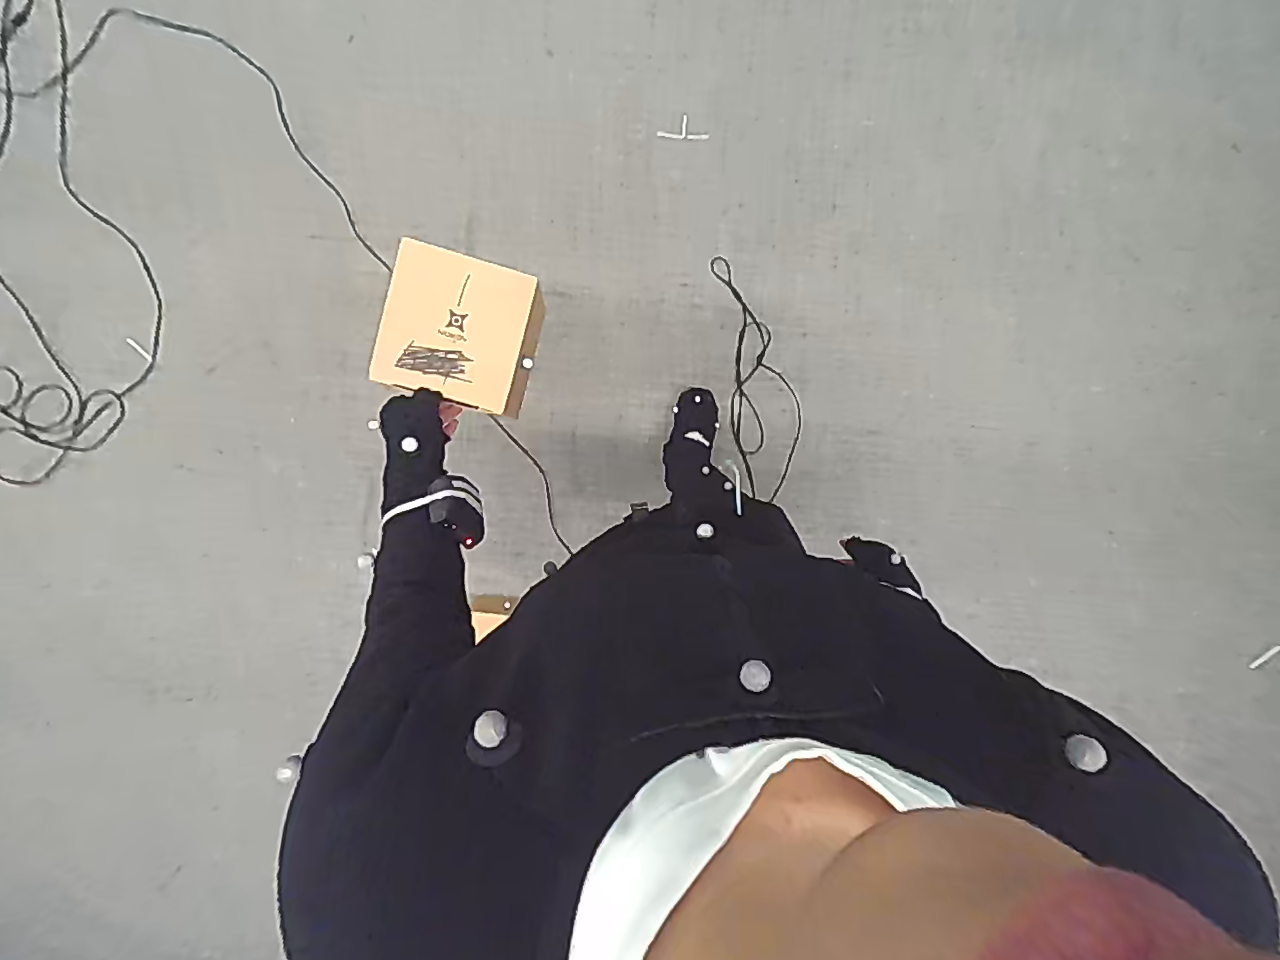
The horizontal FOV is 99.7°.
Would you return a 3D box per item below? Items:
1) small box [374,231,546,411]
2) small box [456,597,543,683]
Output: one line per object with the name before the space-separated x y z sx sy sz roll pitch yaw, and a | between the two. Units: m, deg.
small box | -0.227 -0.197 0.729 0.168 0.176 0.179 15 92 -8
small box | -0.351 0.402 1.382 0.179 0.176 0.168 5 91 0
